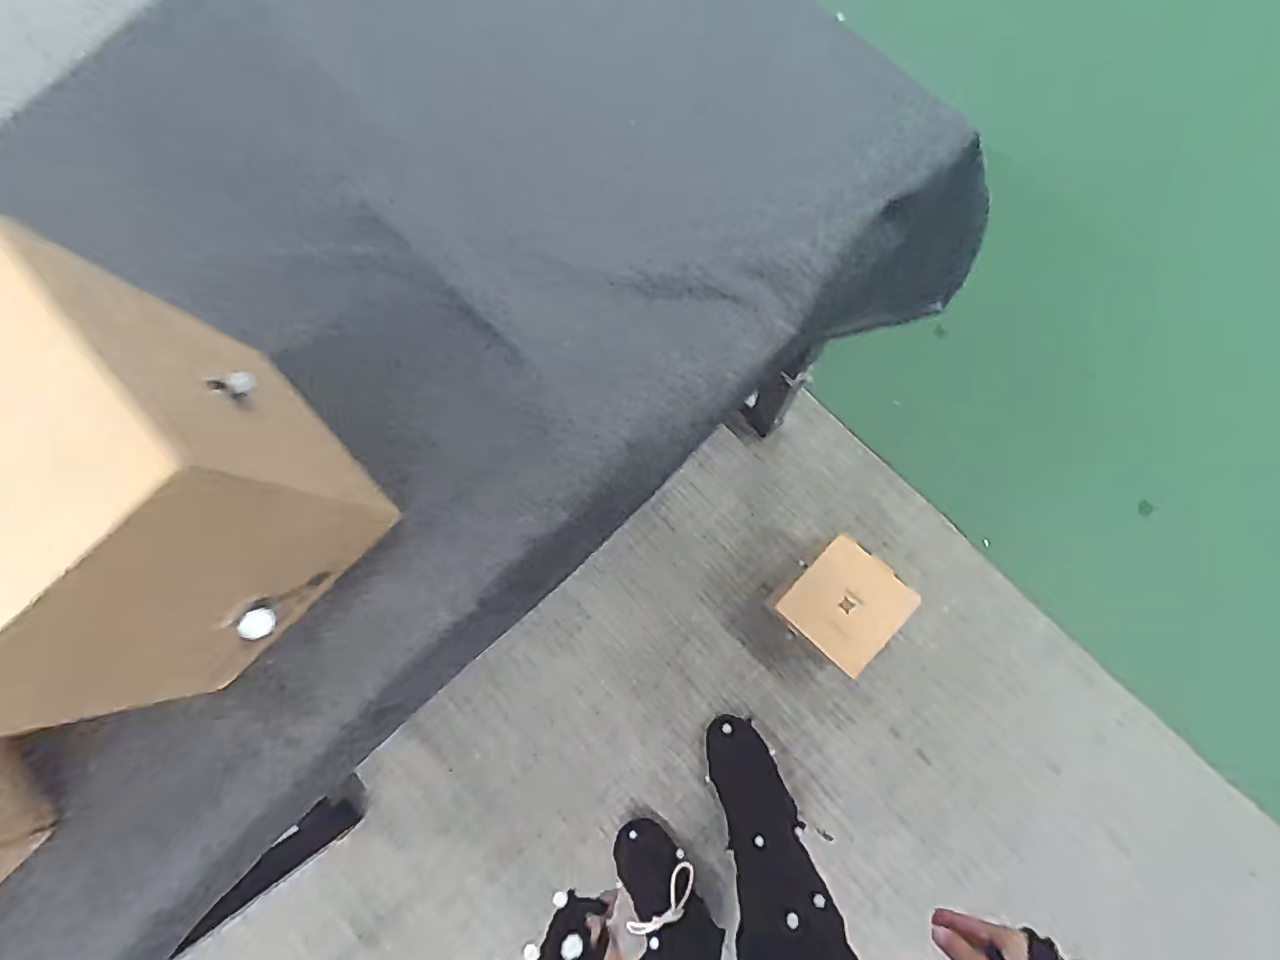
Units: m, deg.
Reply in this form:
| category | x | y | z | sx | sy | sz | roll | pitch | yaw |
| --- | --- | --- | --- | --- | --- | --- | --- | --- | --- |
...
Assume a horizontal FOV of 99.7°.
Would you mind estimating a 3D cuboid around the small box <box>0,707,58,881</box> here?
| category | x | y | z | sx | sy | sz | roll | pitch | yaw |
| --- | --- | --- | --- | --- | --- | --- | --- | --- | --- |
| small box | -0.505 | 0.204 | 0.293 | 0.179 | 0.176 | 0.168 | 43 | 85 | 11 |

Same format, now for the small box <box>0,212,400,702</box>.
| category | x | y | z | sx | sy | sz | roll | pitch | yaw |
| --- | --- | --- | --- | --- | --- | --- | --- | --- | --- |
| small box | -0.284 | 0.003 | 0.308 | 0.168 | 0.176 | 0.179 | -45 | 78 | -4 |

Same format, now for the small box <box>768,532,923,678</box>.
| category | x | y | z | sx | sy | sz | roll | pitch | yaw |
| --- | --- | --- | --- | --- | --- | --- | --- | --- | --- |
| small box | 0.347 | 0.215 | 0.955 | 0.168 | 0.176 | 0.179 | 43 | 86 | 12 |
